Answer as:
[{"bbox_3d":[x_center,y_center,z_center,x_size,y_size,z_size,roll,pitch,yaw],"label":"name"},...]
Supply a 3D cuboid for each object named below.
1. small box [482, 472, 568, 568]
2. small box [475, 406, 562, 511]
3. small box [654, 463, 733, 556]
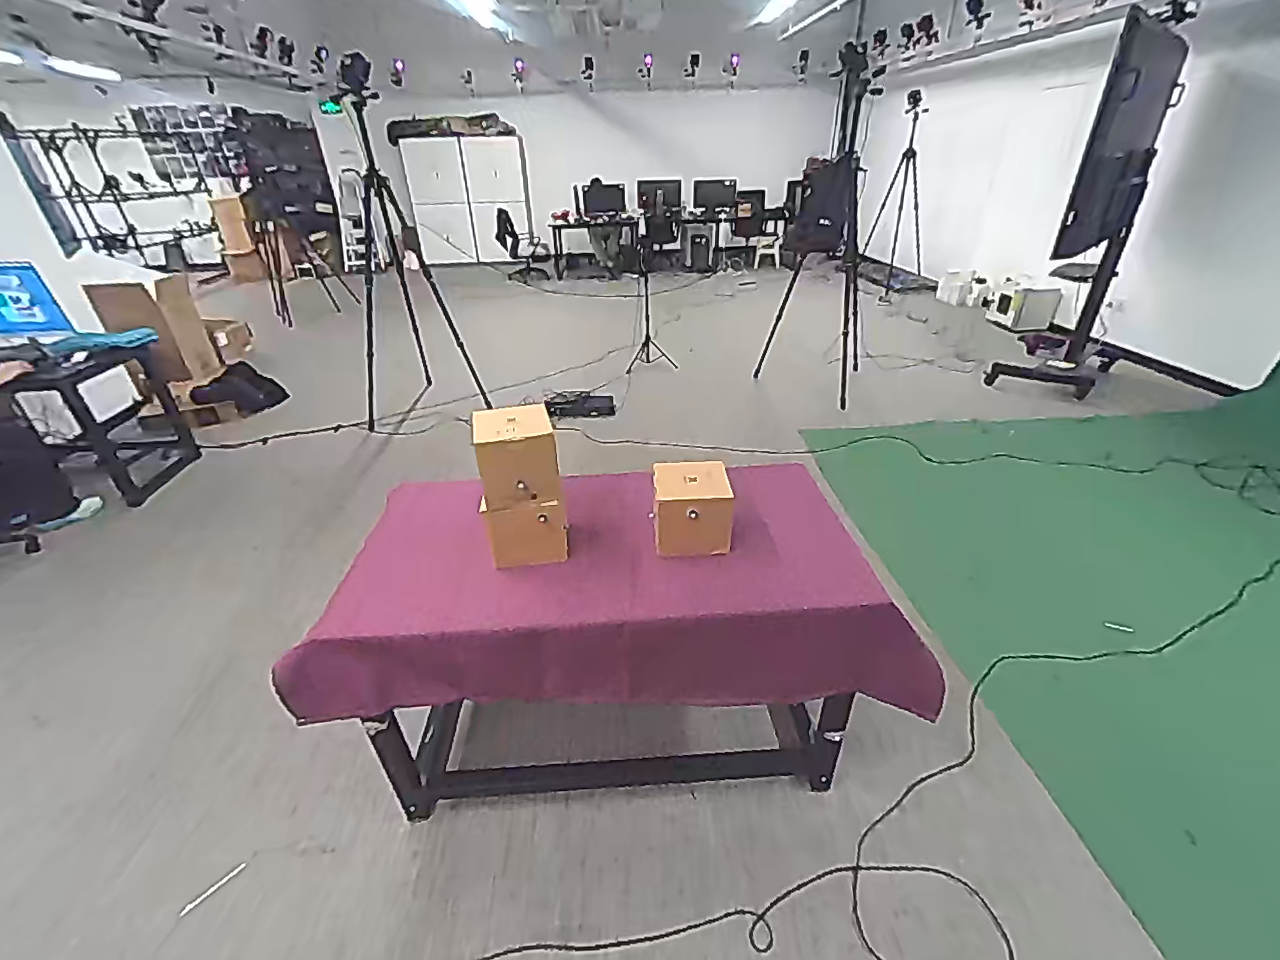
[{"bbox_3d":[-0.270,0.096,1.304,0.179,0.176,0.168,-5,31,-6],"label":"small box"},{"bbox_3d":[-0.277,-0.051,1.230,0.168,0.176,0.179,-10,31,-12],"label":"small box"},{"bbox_3d":[0.125,0.072,1.315,0.179,0.176,0.168,-2,31,0],"label":"small box"}]
